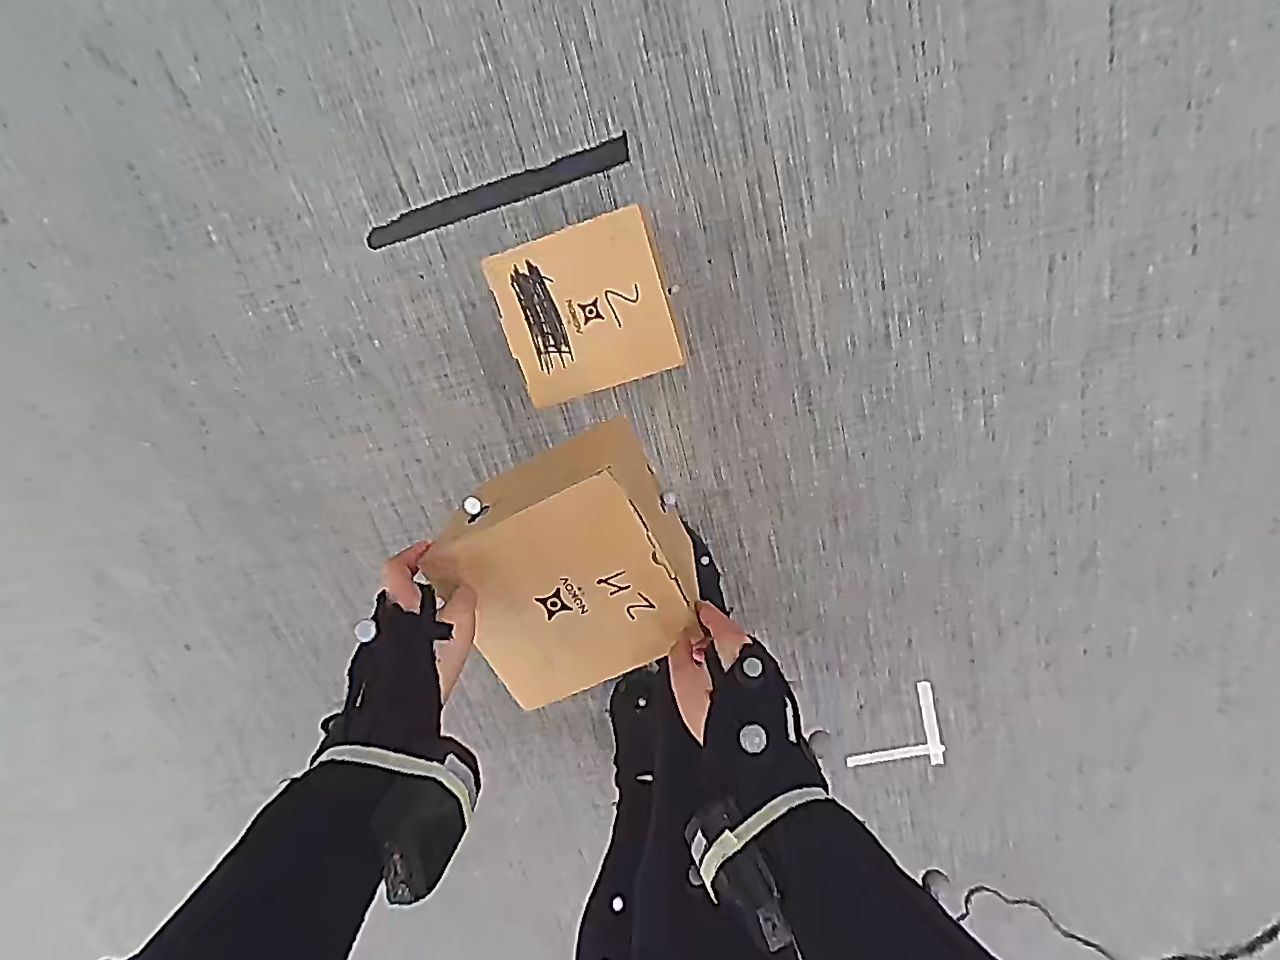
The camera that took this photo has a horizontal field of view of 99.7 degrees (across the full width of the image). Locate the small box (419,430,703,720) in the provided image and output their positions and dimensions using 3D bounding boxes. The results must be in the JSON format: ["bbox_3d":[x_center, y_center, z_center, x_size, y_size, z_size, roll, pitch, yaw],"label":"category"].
[{"bbox_3d":[-0.058,0.076,0.500,0.179,0.176,0.168,-25,108,9],"label":"small box"}]
